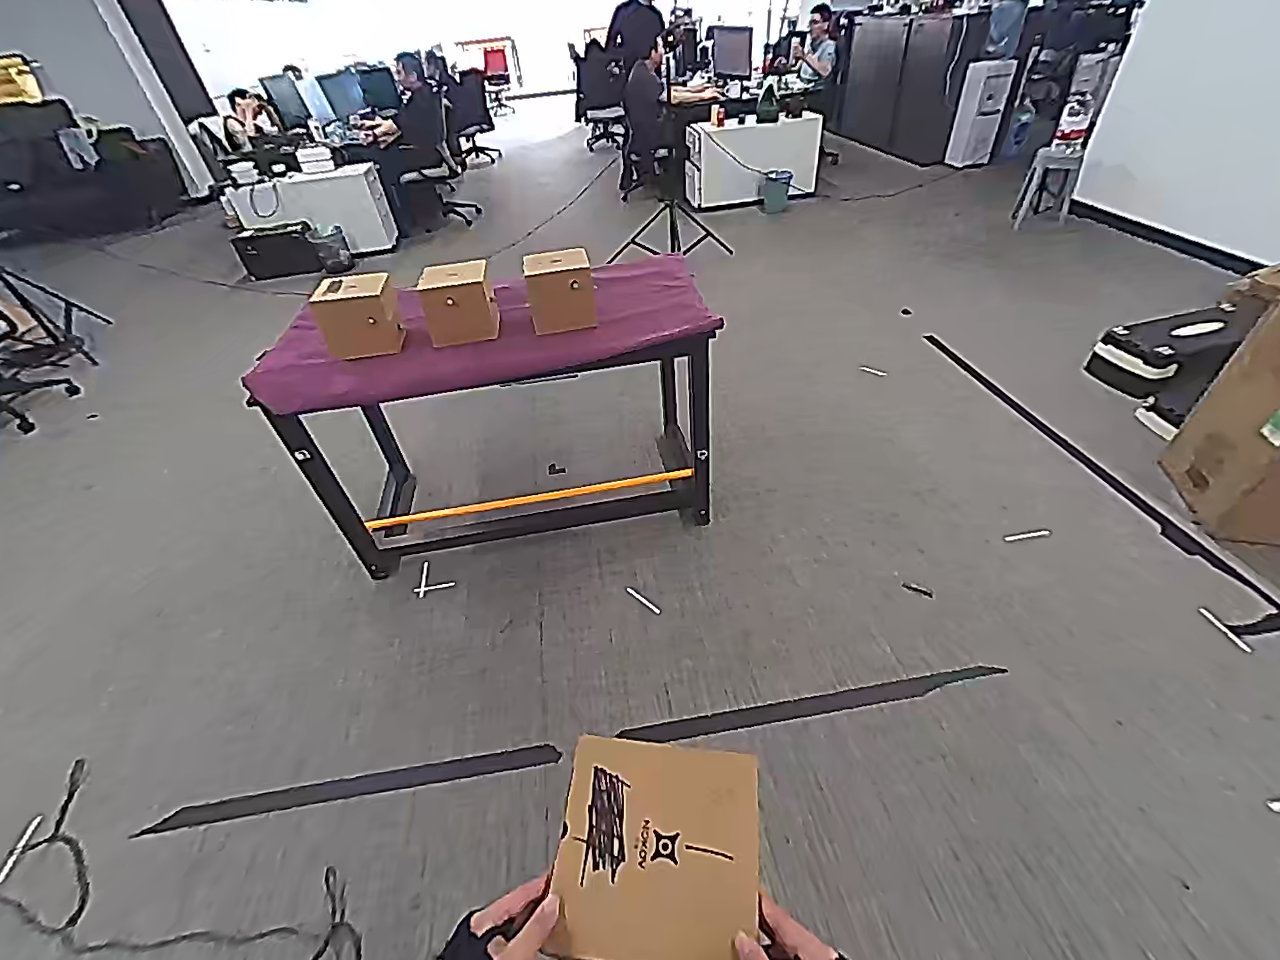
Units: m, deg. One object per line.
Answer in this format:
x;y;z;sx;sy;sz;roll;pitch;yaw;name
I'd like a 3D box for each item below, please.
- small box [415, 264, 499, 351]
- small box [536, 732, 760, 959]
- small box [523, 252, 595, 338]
-0.500;-0.480;1.510;0.179;0.176;0.168;-10;41;-3;small box
0.021;0.365;0.520;0.179;0.176;0.168;2;46;9;small box
-0.224;-0.516;1.510;0.179;0.176;0.168;-11;39;-4;small box
